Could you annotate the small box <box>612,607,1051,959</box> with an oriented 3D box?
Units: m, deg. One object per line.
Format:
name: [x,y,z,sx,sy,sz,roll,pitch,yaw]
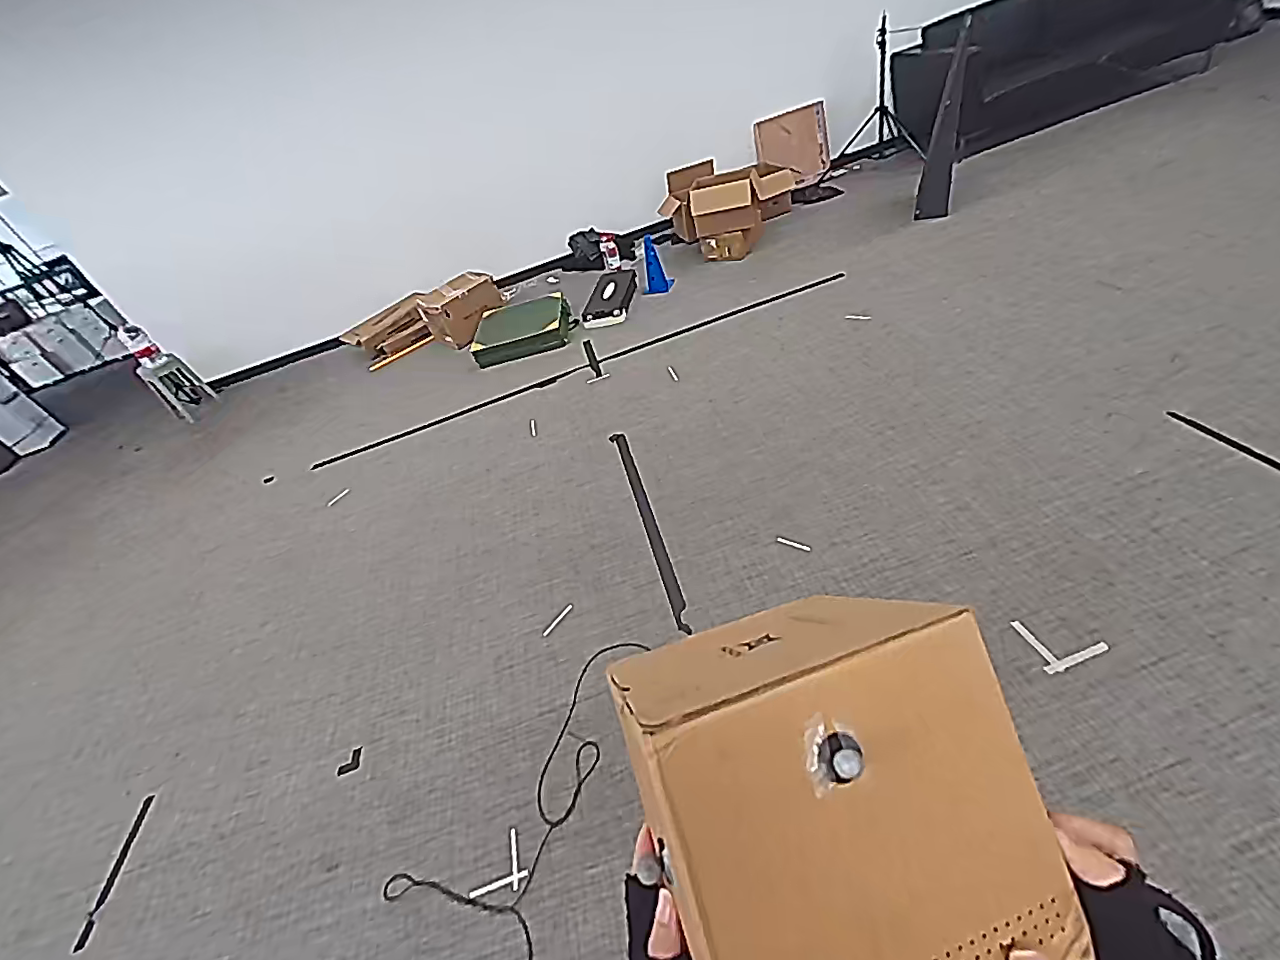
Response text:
small box: [0.095,0.189,0.332,0.179,0.168,0.176,-15,83,-11]
